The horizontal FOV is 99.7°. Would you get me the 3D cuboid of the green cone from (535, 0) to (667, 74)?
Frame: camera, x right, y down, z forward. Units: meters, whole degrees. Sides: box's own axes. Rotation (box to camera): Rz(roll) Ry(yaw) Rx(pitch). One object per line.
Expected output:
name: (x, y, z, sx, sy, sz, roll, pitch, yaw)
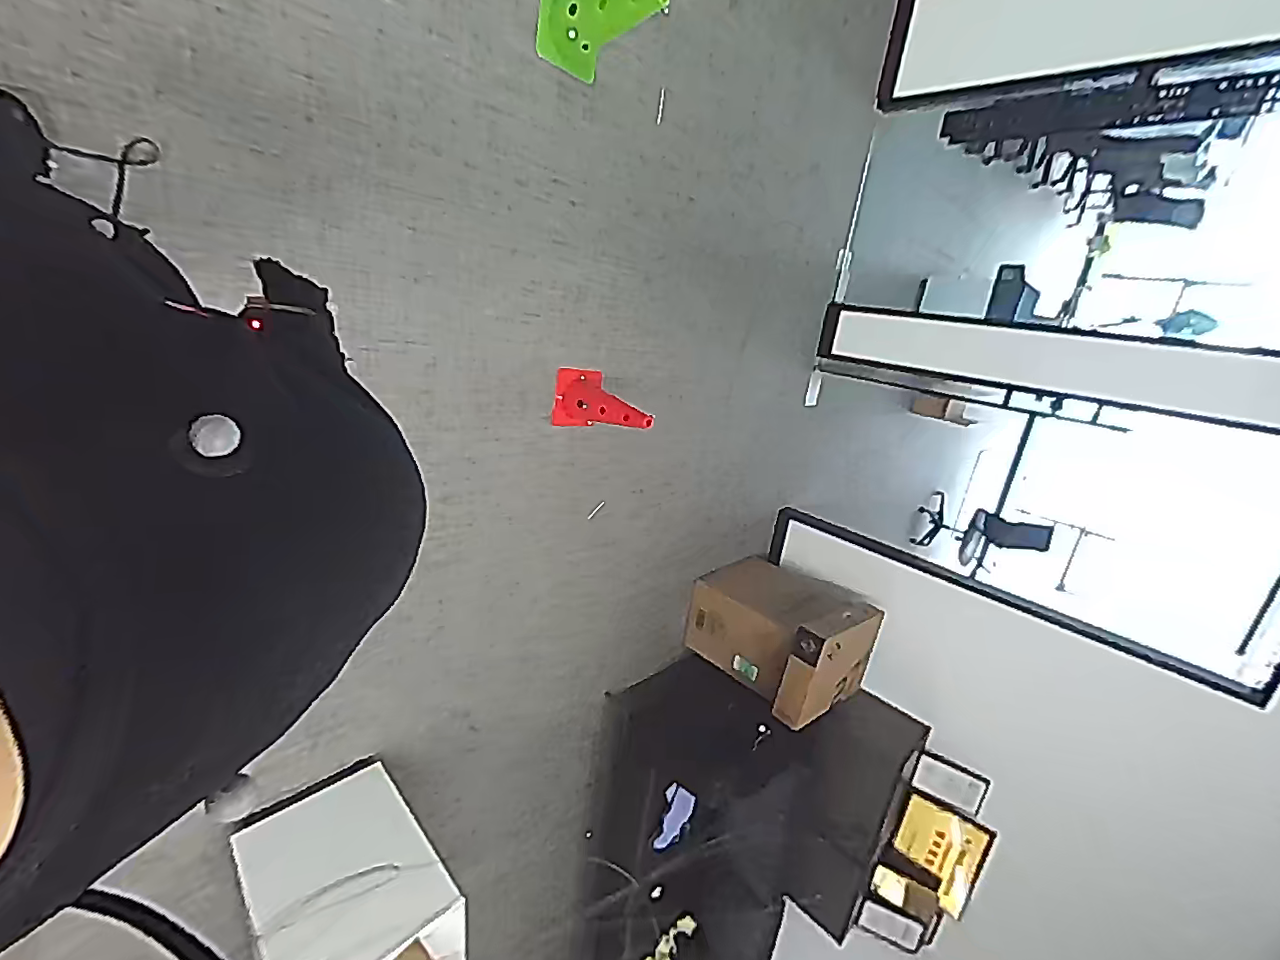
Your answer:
green cone: (-0.071, -1.180, 1.339, 0.200, 0.368, 0.202, -9, 116, -45)
